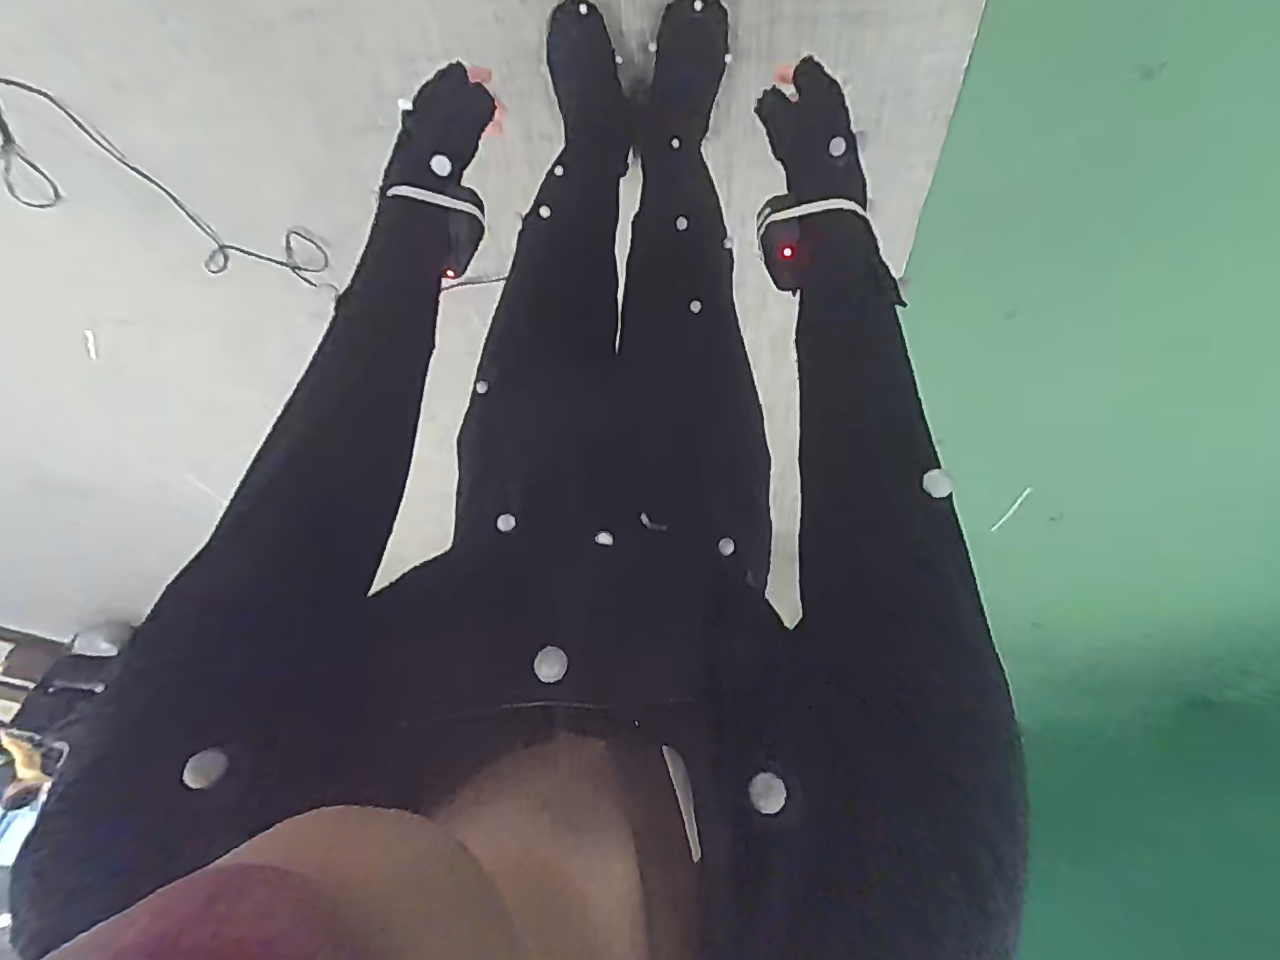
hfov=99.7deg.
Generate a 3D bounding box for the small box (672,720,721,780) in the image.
[{"bbox_3d":[0.205,0.963,1.924,0.168,0.176,0.179,-3,146,10],"label":"small box"}]
